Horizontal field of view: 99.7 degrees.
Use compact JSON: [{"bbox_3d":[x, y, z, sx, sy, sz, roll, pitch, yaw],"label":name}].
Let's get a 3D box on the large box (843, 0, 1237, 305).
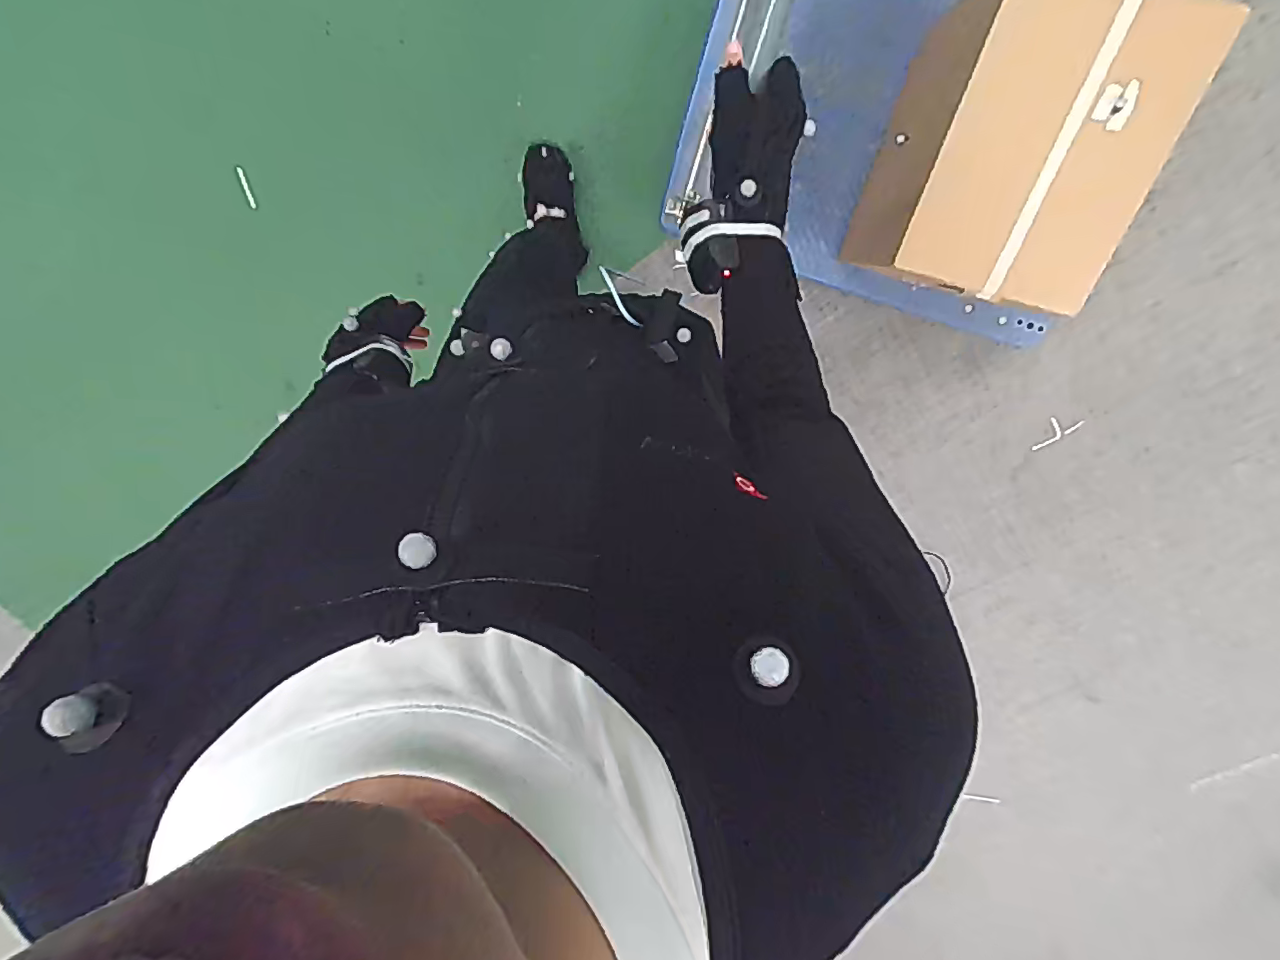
[{"bbox_3d":[0.601,-0.546,0.917,0.320,0.320,0.408,15,113,-4],"label":"large box"}]
